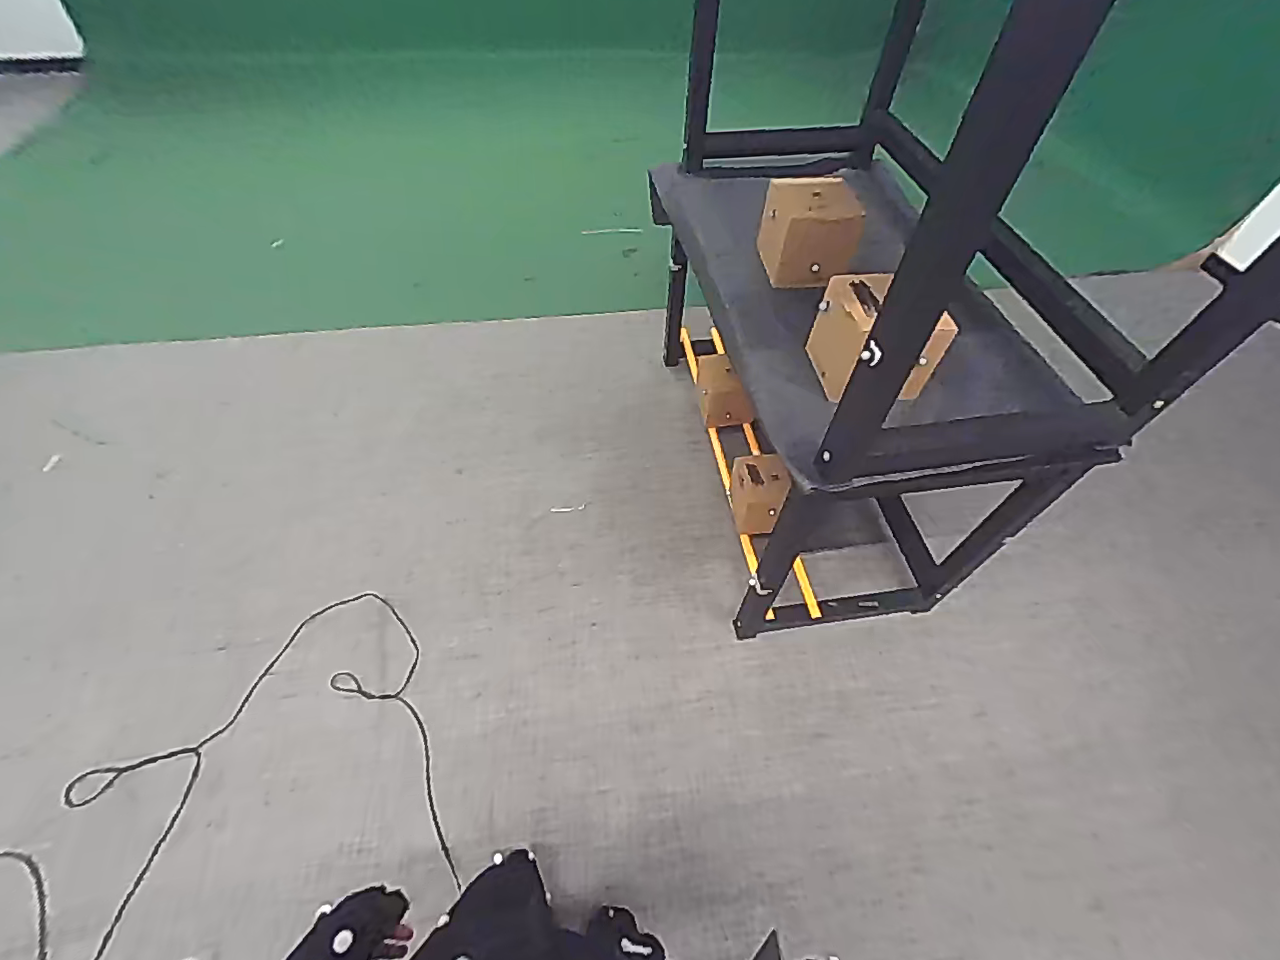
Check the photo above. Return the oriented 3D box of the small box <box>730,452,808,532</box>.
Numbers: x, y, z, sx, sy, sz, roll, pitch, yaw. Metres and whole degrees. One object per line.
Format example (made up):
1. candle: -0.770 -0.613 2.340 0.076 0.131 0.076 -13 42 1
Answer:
1. small box: 0.363 0.039 1.565 0.179 0.176 0.168 -4 54 -4

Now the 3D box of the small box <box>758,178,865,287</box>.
1. small box: 0.380 -0.565 1.238 0.168 0.176 0.179 -4 54 -4
